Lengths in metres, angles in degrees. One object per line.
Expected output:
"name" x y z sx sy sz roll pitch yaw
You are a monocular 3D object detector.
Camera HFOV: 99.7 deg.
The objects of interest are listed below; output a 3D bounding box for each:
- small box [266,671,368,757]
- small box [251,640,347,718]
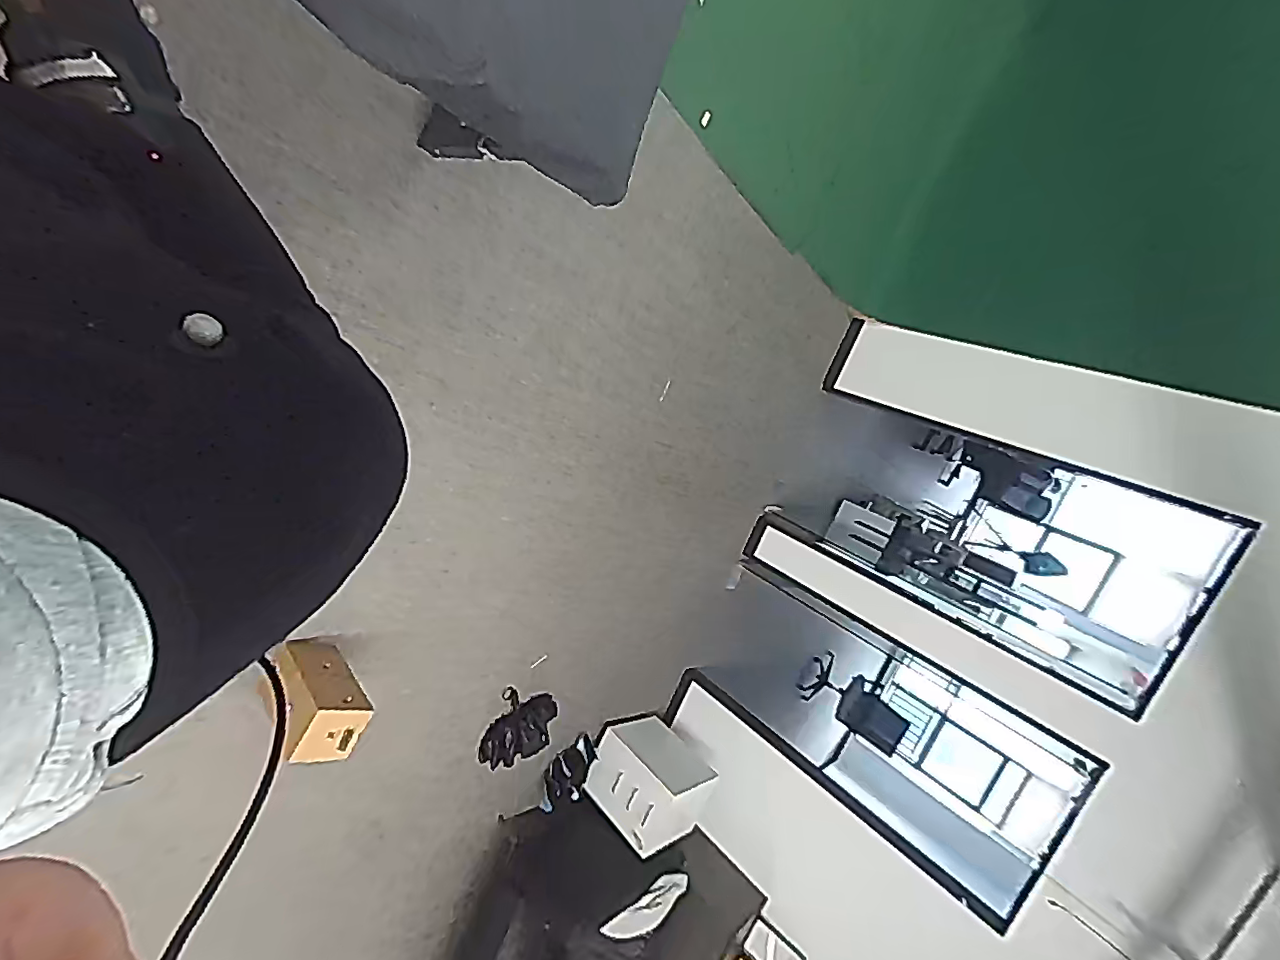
"small box" -0.951 0.682 1.589 0.179 0.176 0.168 34 85 -53
"small box" -1.066 0.617 1.687 0.179 0.176 0.168 32 86 -52
